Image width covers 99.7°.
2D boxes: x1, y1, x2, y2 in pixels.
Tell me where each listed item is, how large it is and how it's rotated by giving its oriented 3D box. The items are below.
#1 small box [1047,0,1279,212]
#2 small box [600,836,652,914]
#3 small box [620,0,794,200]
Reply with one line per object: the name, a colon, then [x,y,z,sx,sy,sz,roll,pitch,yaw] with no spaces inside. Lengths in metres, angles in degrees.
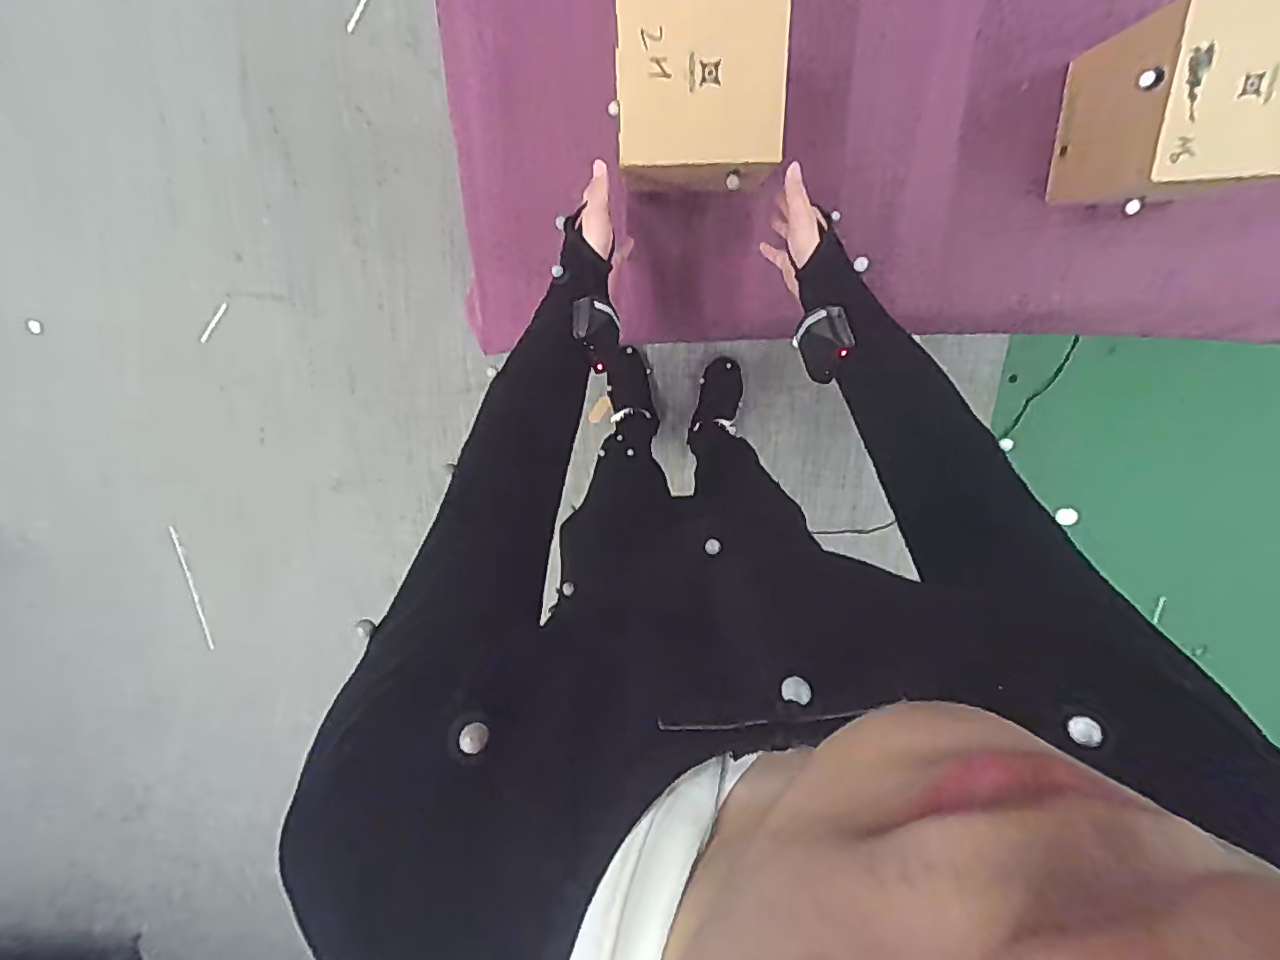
small box: [0.623,-0.411,0.619,0.179,0.176,0.168,-1,108,3]
small box: [-0.051,1.479,2.032,0.179,0.176,0.168,6,109,0]
small box: [0.069,-0.435,0.636,0.179,0.176,0.168,0,108,2]
